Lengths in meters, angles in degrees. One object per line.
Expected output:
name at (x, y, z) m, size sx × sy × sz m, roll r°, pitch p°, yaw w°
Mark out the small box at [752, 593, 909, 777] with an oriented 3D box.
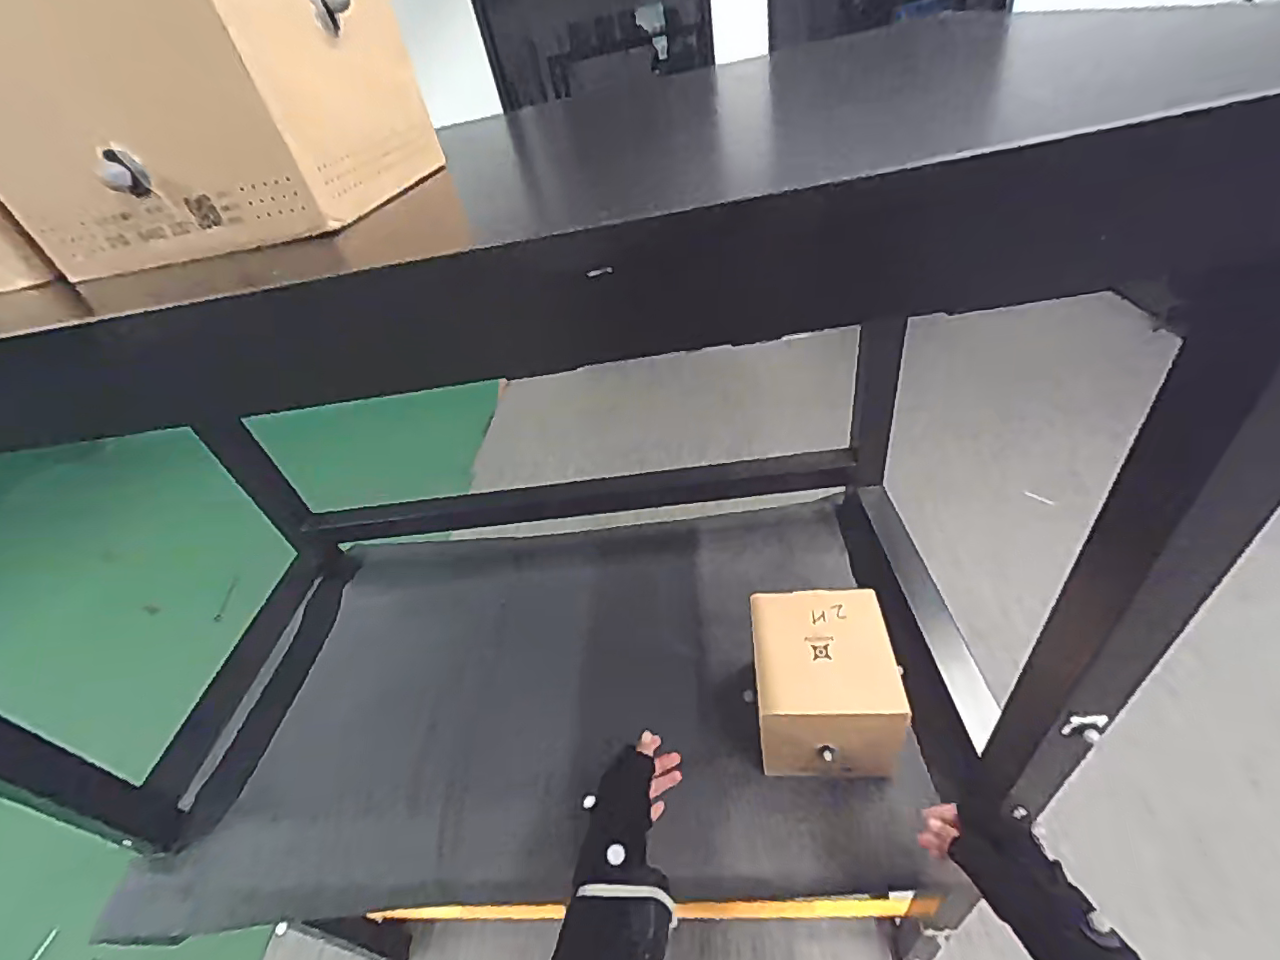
small box at (0.242, 0.275, 0.722) m, size 0.168 × 0.176 × 0.179 m, roll -4°, pitch 39°, yaw 10°
